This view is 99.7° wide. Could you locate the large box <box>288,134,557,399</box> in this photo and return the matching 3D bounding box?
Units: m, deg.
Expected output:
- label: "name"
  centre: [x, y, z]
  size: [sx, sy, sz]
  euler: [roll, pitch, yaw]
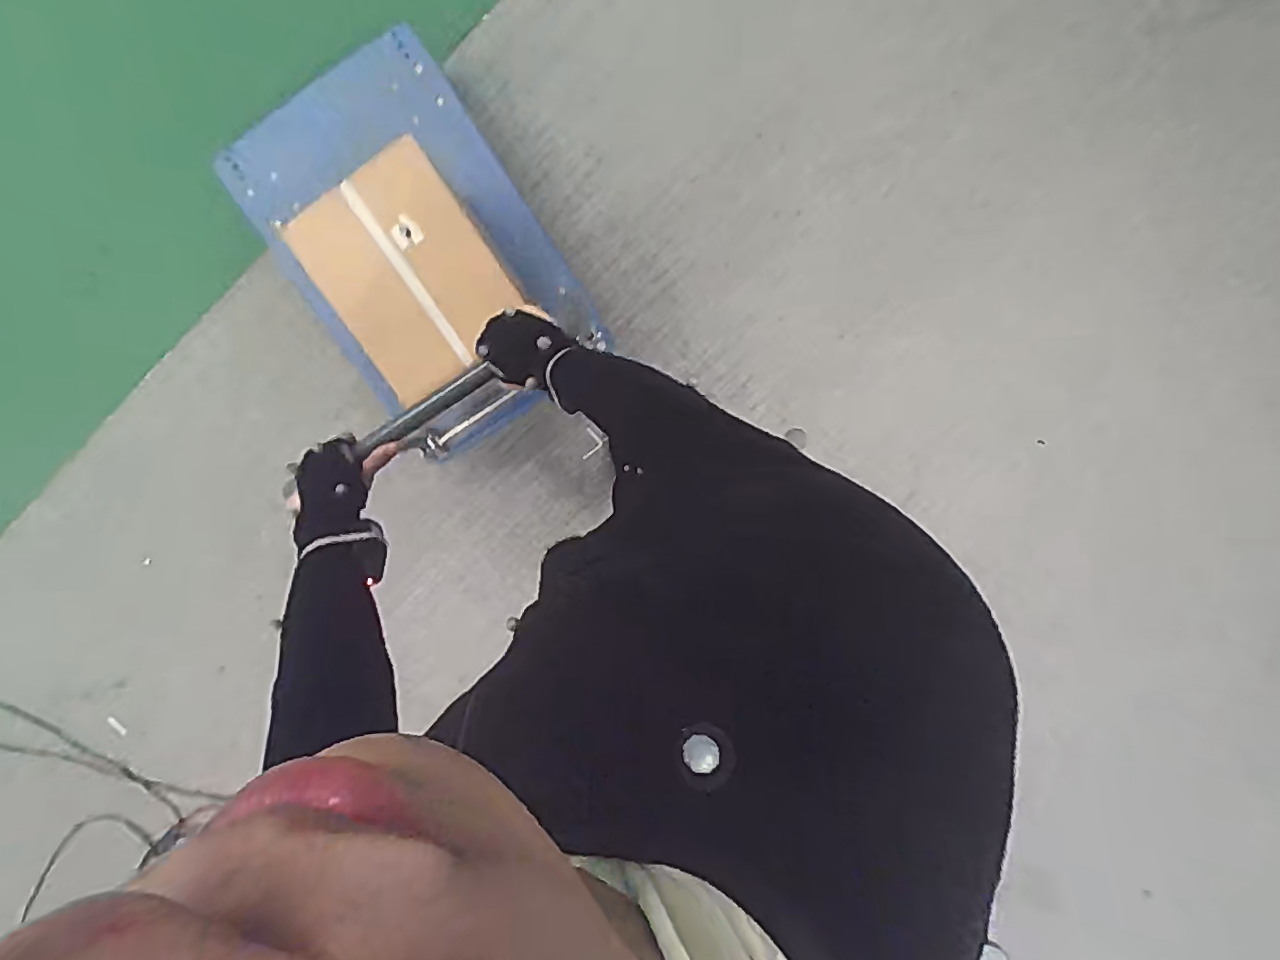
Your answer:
- label: "large box"
  centre: [-0.438, -0.428, 1.193]
  size: [0.320, 0.320, 0.408]
  euler: [-33, 98, 4]
